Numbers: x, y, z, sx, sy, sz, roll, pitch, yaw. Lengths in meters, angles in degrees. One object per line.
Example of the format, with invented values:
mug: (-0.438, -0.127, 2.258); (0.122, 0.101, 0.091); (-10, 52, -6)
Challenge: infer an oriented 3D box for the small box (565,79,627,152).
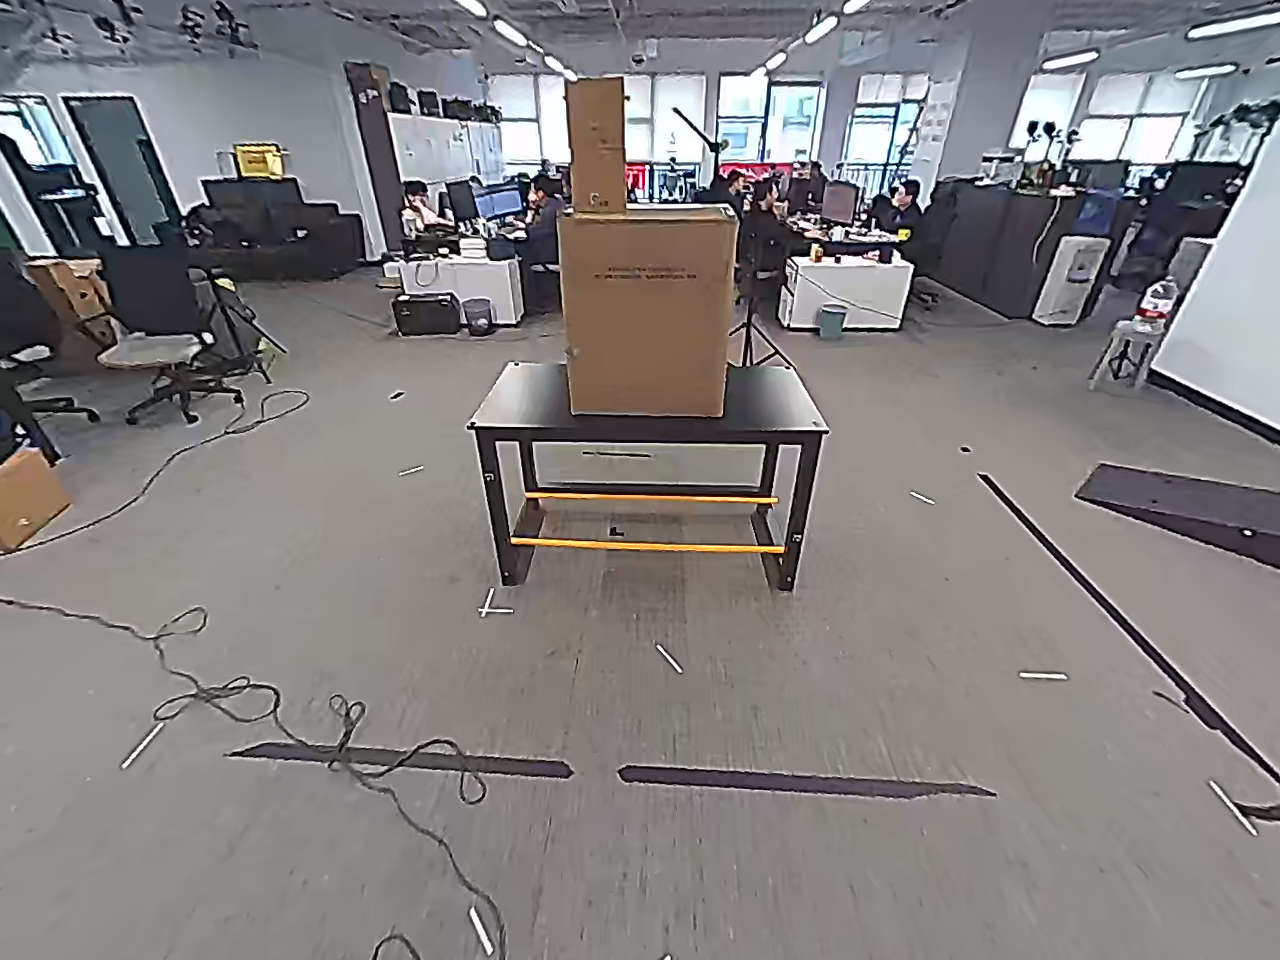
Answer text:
small box: (-0.122, -1.054, 1.571); (0.168, 0.176, 0.179); (-1, 33, 0)

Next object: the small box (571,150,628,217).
small box: (-0.120, -0.916, 1.662); (0.168, 0.176, 0.179); (-2, 34, -2)
